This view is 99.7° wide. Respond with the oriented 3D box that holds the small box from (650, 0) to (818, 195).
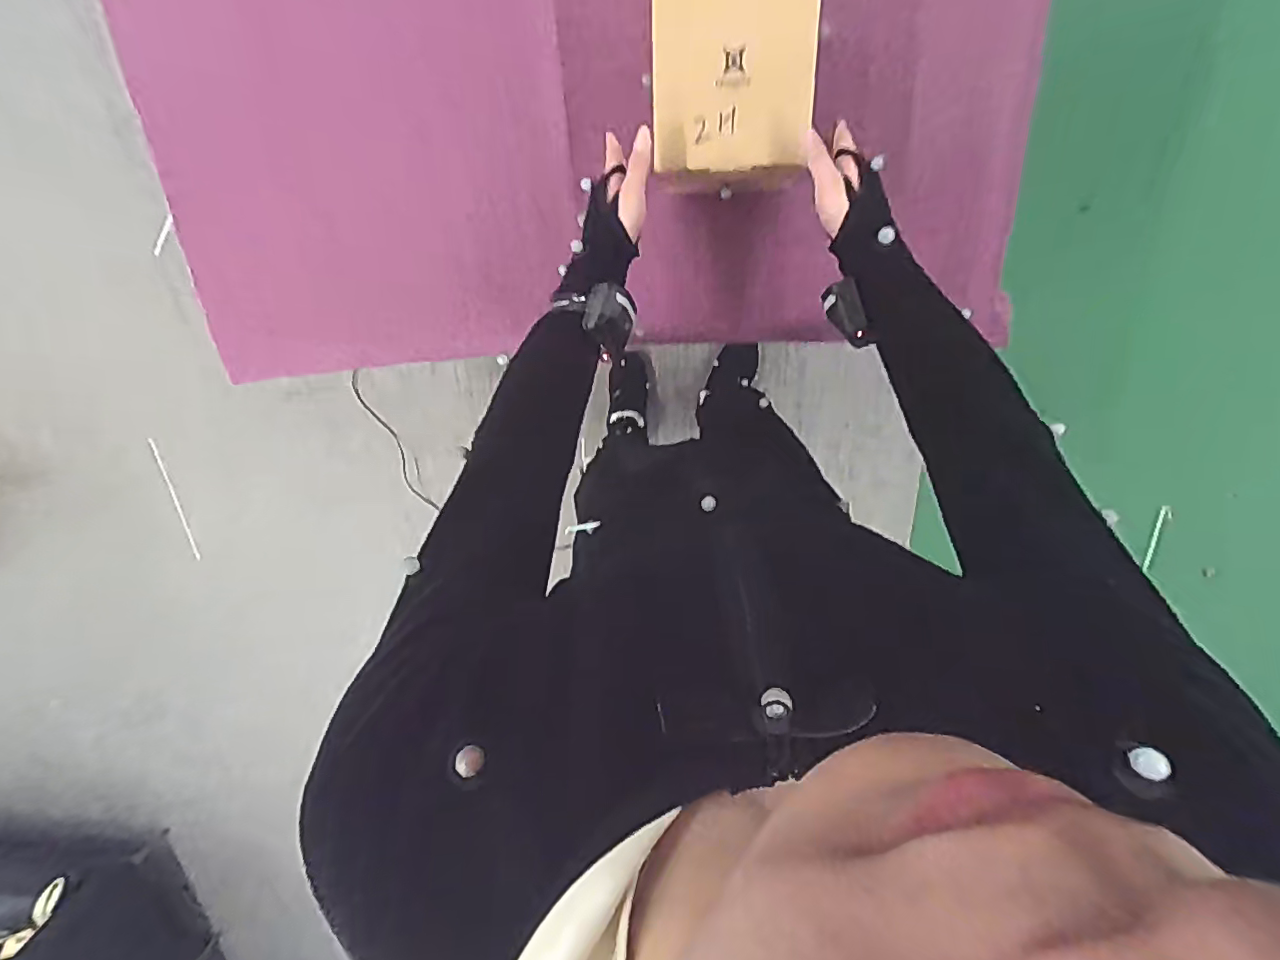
[{"bbox_3d":[0.102,-0.442,0.625,0.168,0.176,0.179,2,111,8],"label":"small box"}]
